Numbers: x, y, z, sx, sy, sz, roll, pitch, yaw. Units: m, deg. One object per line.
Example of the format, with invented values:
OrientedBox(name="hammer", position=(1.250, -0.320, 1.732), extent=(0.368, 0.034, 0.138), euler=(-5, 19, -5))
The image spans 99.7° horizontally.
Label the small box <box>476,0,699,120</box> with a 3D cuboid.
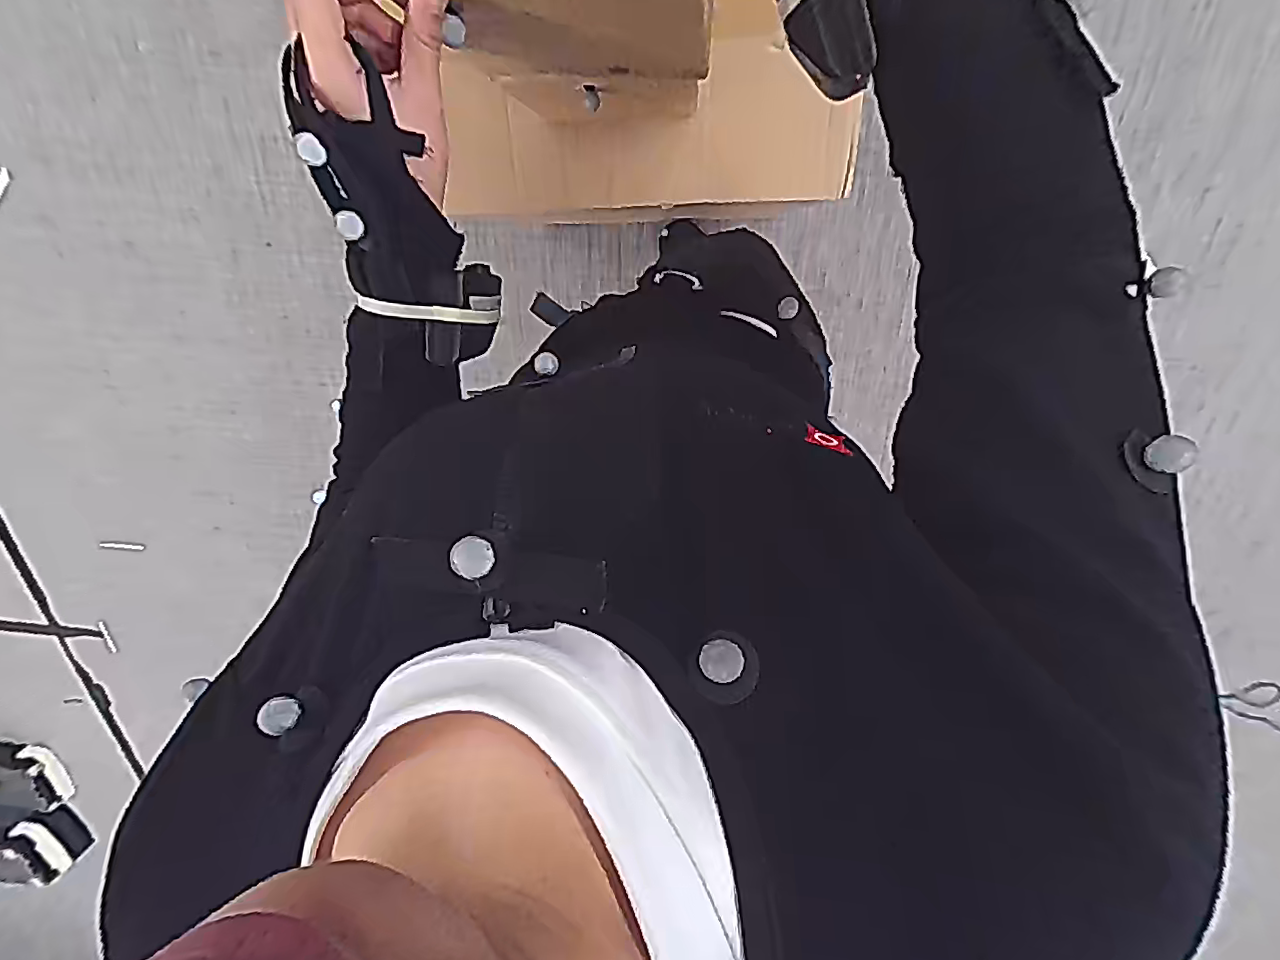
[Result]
OrientedBox(name="small box", position=(-0.035, -0.432, 0.478), extent=(0.179, 0.176, 0.168), euler=(1, 114, 6))
